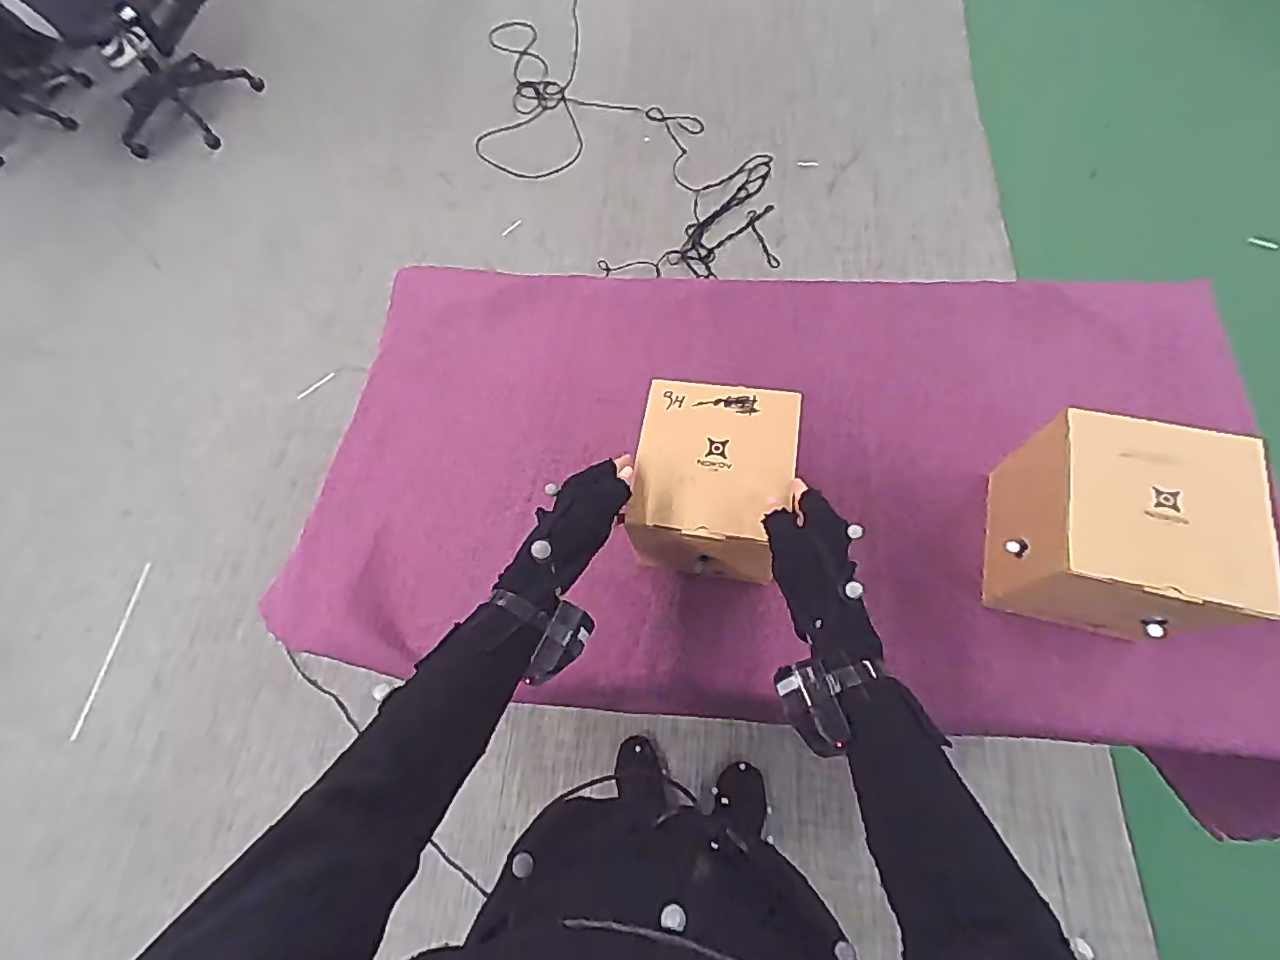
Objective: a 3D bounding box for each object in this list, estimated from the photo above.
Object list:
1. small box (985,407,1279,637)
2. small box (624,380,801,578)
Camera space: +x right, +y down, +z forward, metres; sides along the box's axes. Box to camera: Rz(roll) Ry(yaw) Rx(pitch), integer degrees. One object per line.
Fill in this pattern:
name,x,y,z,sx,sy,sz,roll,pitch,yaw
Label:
small box,0.488,0.053,0.566,0.168,0.176,0.179,13,69,12
small box,0.087,0.007,0.636,0.168,0.176,0.179,8,68,10
